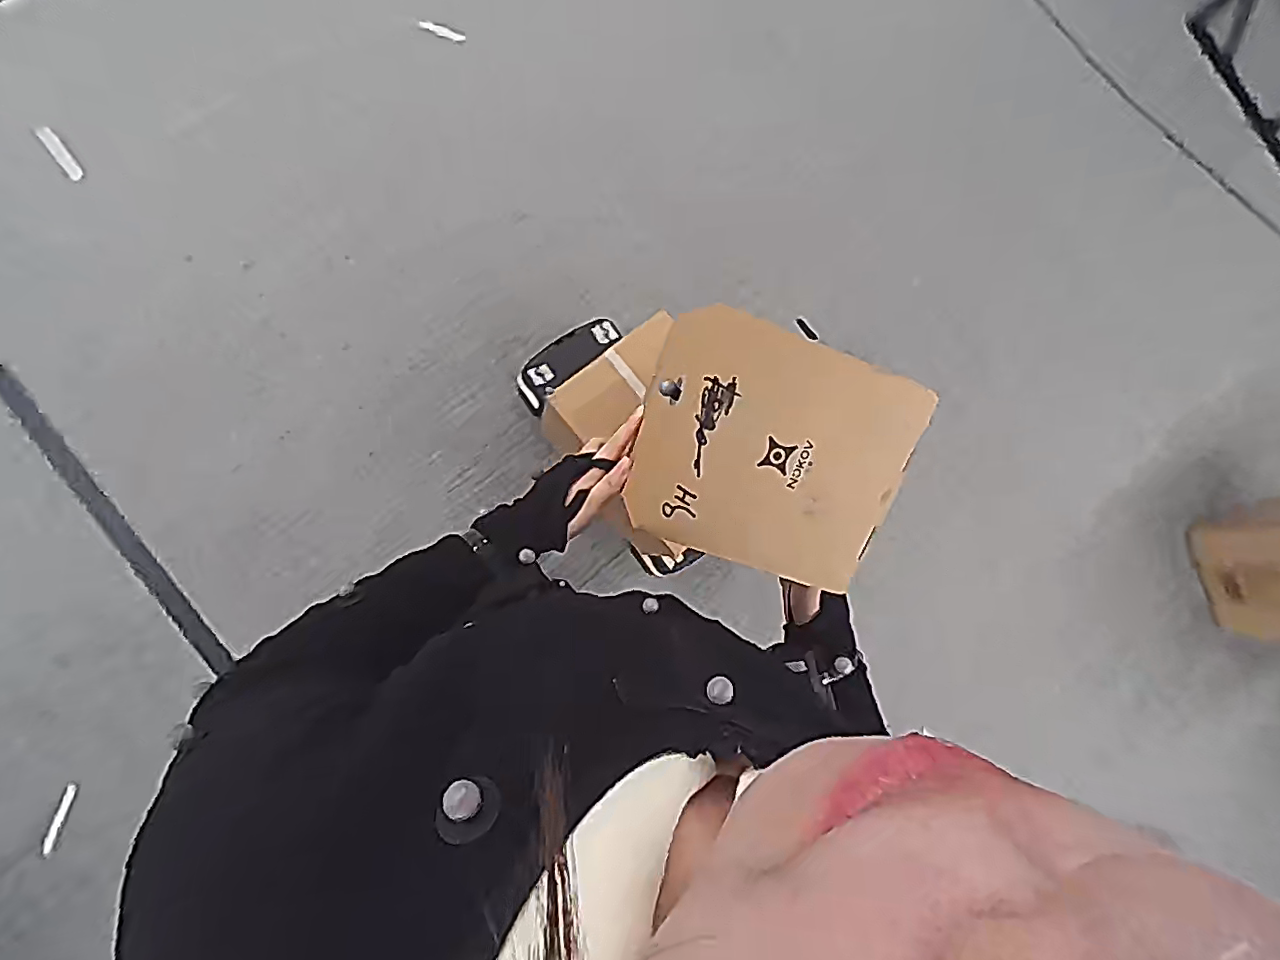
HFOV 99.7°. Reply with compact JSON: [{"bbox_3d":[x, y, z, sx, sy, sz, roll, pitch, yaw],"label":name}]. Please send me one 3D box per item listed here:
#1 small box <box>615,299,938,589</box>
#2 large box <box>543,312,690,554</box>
[{"bbox_3d":[0.091,-0.036,0.451,0.179,0.176,0.168,18,100,-12],"label":"small box"},{"bbox_3d":[0.027,-0.082,1.219,0.320,0.320,0.408,-40,92,-15],"label":"large box"}]
